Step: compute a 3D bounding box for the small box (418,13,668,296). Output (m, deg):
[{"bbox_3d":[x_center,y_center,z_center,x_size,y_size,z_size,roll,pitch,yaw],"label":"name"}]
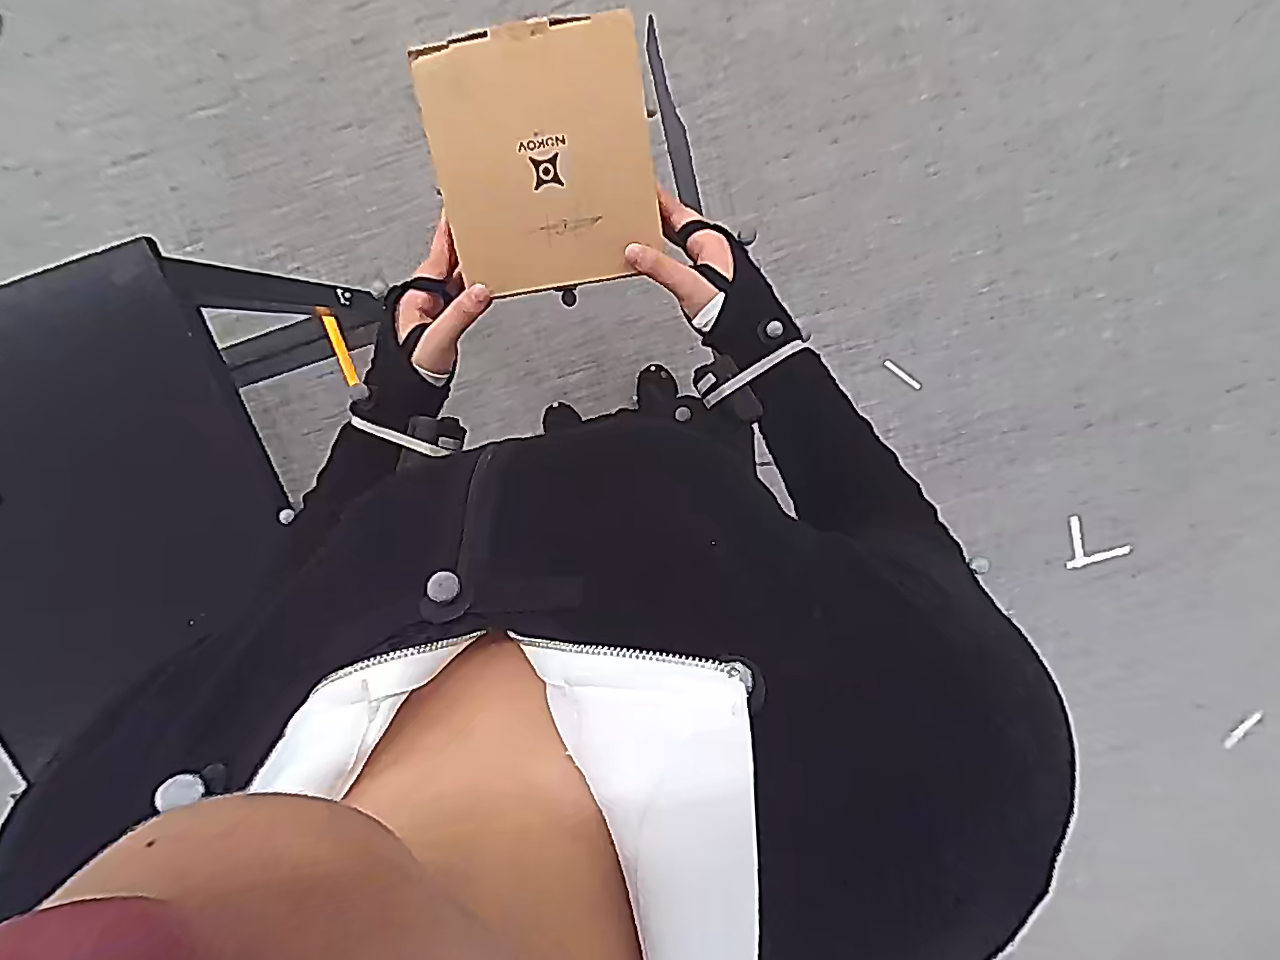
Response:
[{"bbox_3d":[-0.073,-0.269,0.490,0.168,0.176,0.179,-9,111,1],"label":"small box"}]
